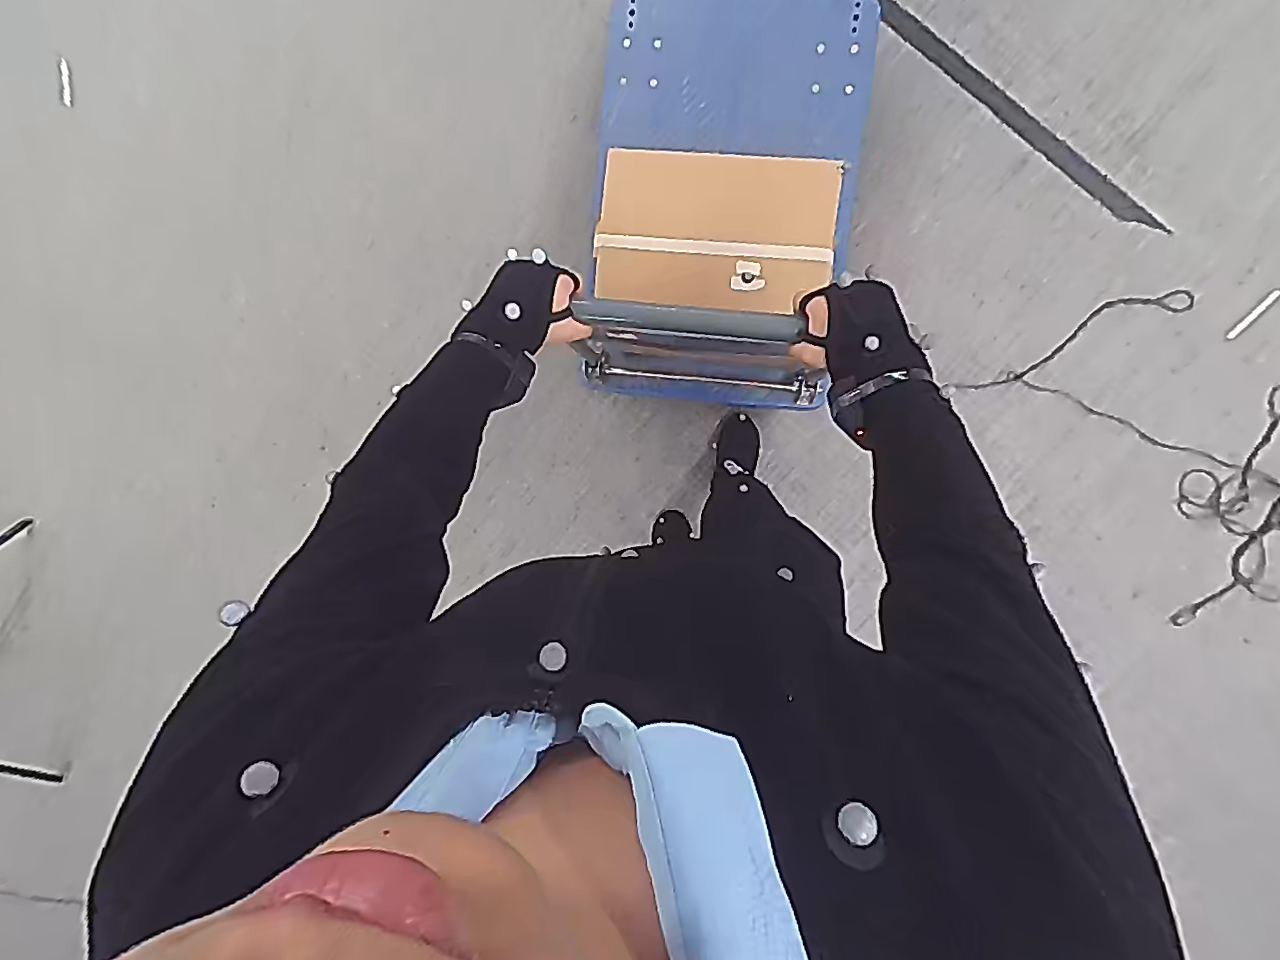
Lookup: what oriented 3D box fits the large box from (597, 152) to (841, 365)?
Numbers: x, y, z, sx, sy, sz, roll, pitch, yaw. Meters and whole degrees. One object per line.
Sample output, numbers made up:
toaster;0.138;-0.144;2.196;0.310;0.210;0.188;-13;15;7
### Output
large box;0.143;-0.418;1.092;0.408;0.320;0.320;6;97;5
